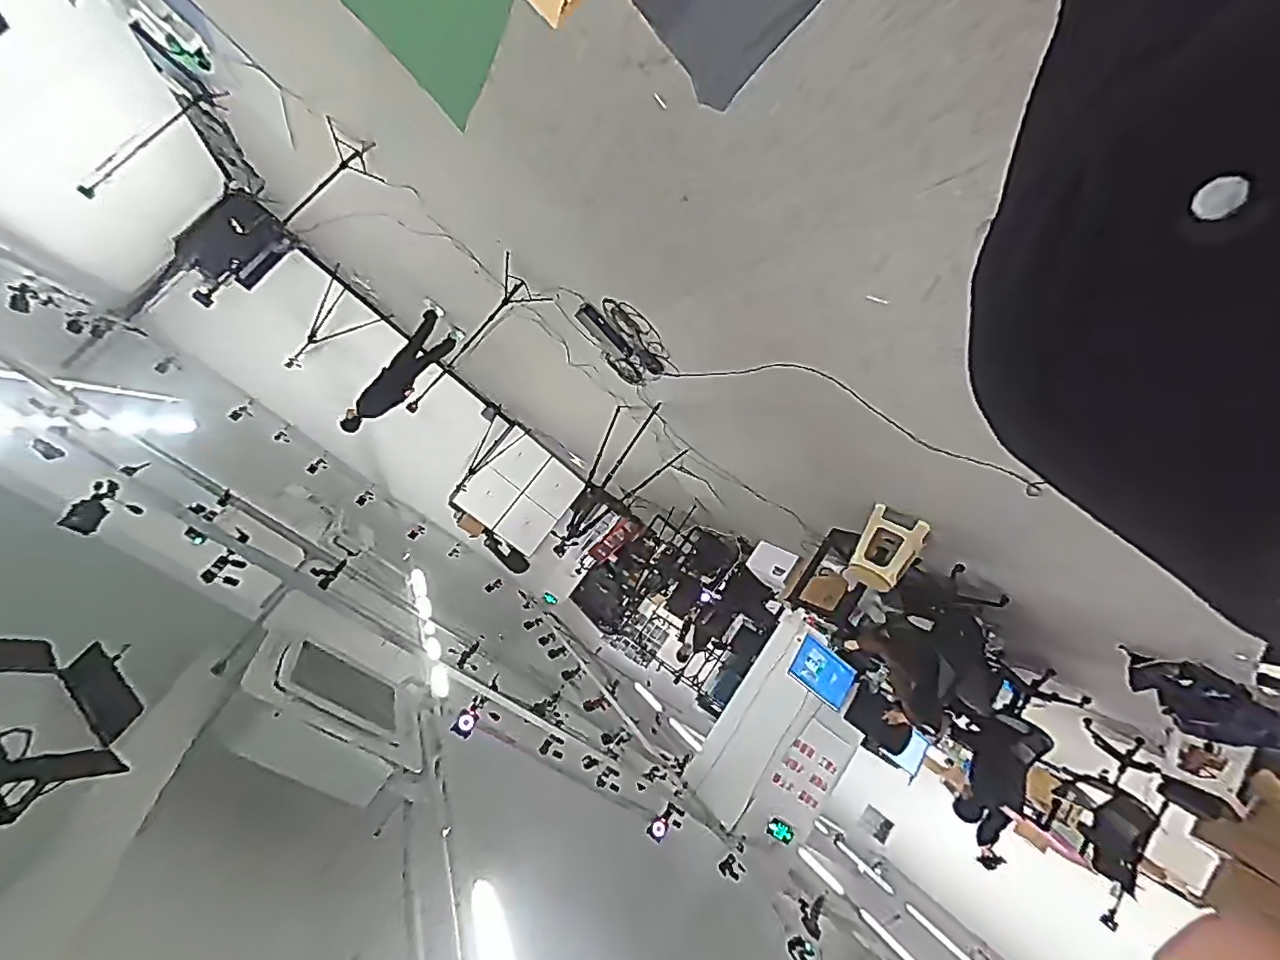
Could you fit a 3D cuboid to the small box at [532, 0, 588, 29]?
[{"bbox_3d":[-0.106,-0.798,0.739,0.179,0.176,0.168,40,168,-17],"label":"small box"}]
